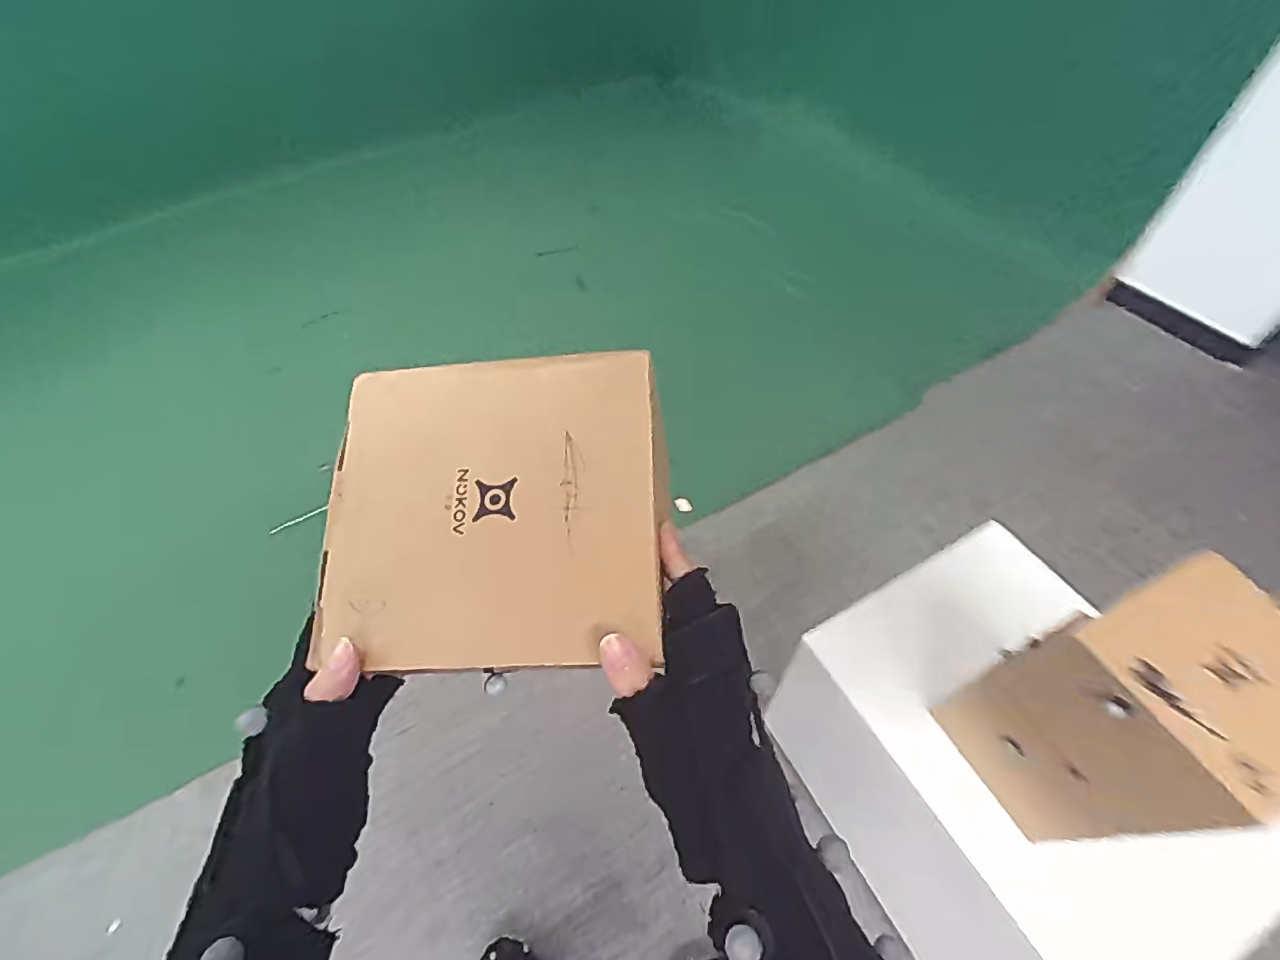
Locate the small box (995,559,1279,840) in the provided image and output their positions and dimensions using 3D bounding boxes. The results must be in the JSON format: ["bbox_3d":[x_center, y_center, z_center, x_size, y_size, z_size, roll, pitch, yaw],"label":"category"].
[{"bbox_3d":[0.493,0.209,0.513,0.179,0.176,0.168,-25,57,-12],"label":"small box"}]

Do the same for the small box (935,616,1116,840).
[{"bbox_3d":[0.498,0.299,0.647,0.168,0.176,0.179,-24,56,-12],"label":"small box"}]
